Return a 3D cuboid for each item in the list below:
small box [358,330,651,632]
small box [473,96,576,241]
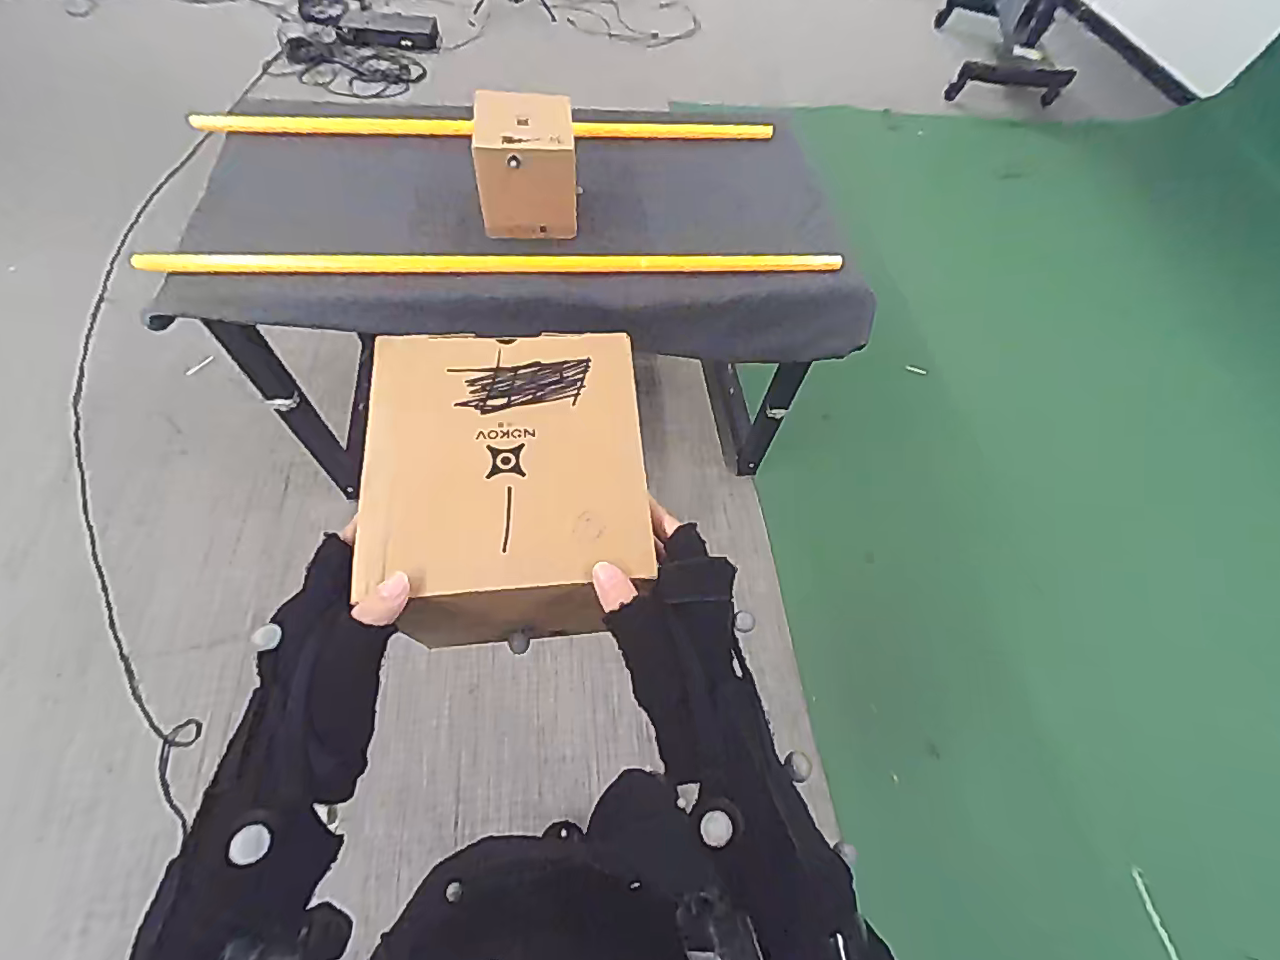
[{"bbox_3d":[-0.090,0.008,0.411,0.168,0.176,0.179,-3,66,-7],"label":"small box"},{"bbox_3d":[-0.204,-0.566,0.990,0.168,0.176,0.179,-4,60,-6],"label":"small box"}]
